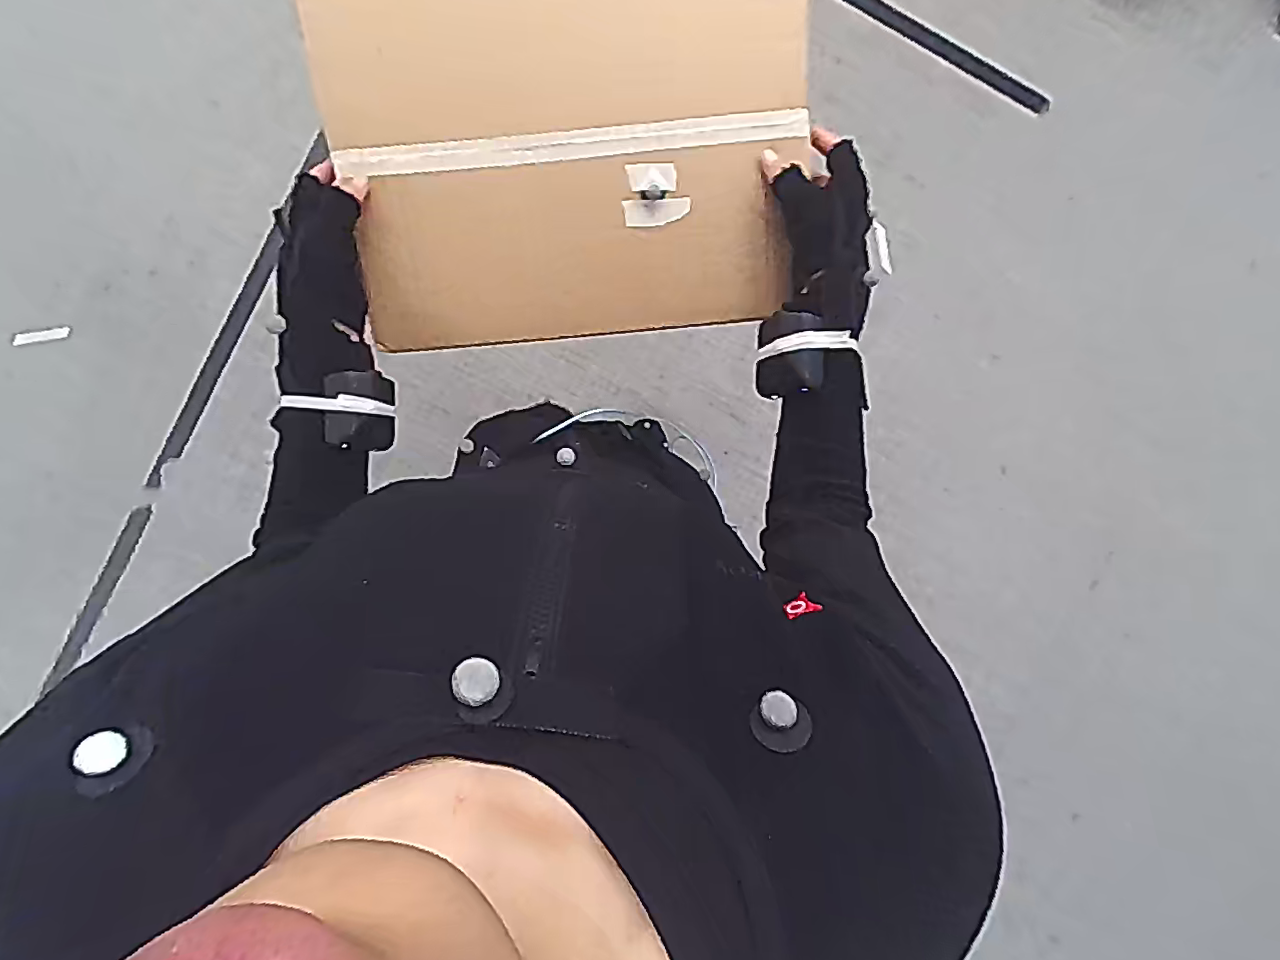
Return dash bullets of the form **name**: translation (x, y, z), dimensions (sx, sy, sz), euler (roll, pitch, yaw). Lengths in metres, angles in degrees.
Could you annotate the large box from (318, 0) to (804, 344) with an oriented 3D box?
- **large box**: translation (-0.061, -0.342, 0.618), dimensions (0.408, 0.320, 0.320), euler (-6, 108, -1)
